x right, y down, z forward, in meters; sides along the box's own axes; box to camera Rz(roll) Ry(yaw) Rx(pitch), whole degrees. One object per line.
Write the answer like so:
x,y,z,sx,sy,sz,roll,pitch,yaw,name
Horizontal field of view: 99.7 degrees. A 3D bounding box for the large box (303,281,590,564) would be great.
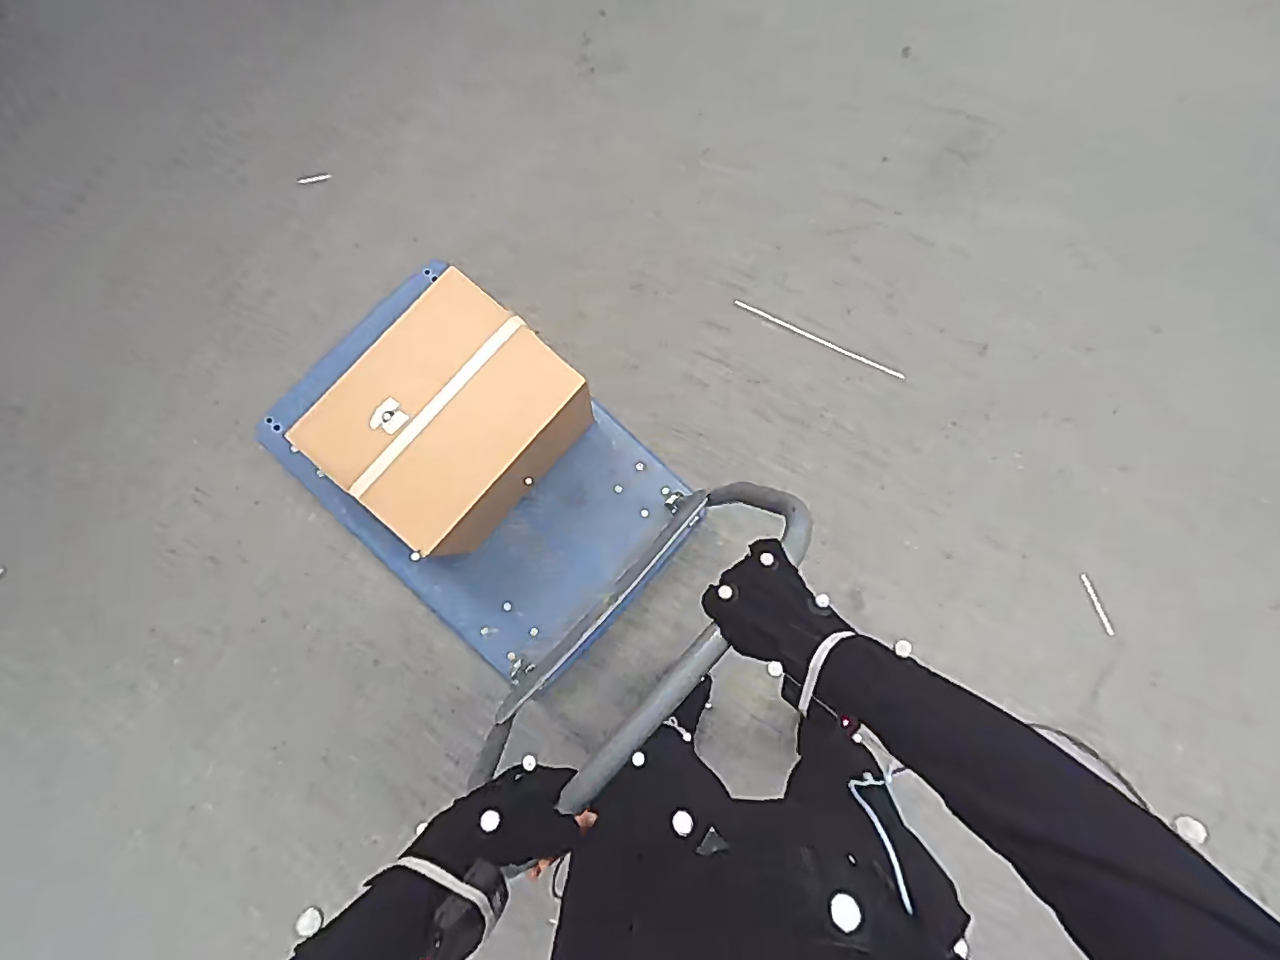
-0.340,-0.096,1.077,0.320,0.320,0.408,40,85,1,large box
